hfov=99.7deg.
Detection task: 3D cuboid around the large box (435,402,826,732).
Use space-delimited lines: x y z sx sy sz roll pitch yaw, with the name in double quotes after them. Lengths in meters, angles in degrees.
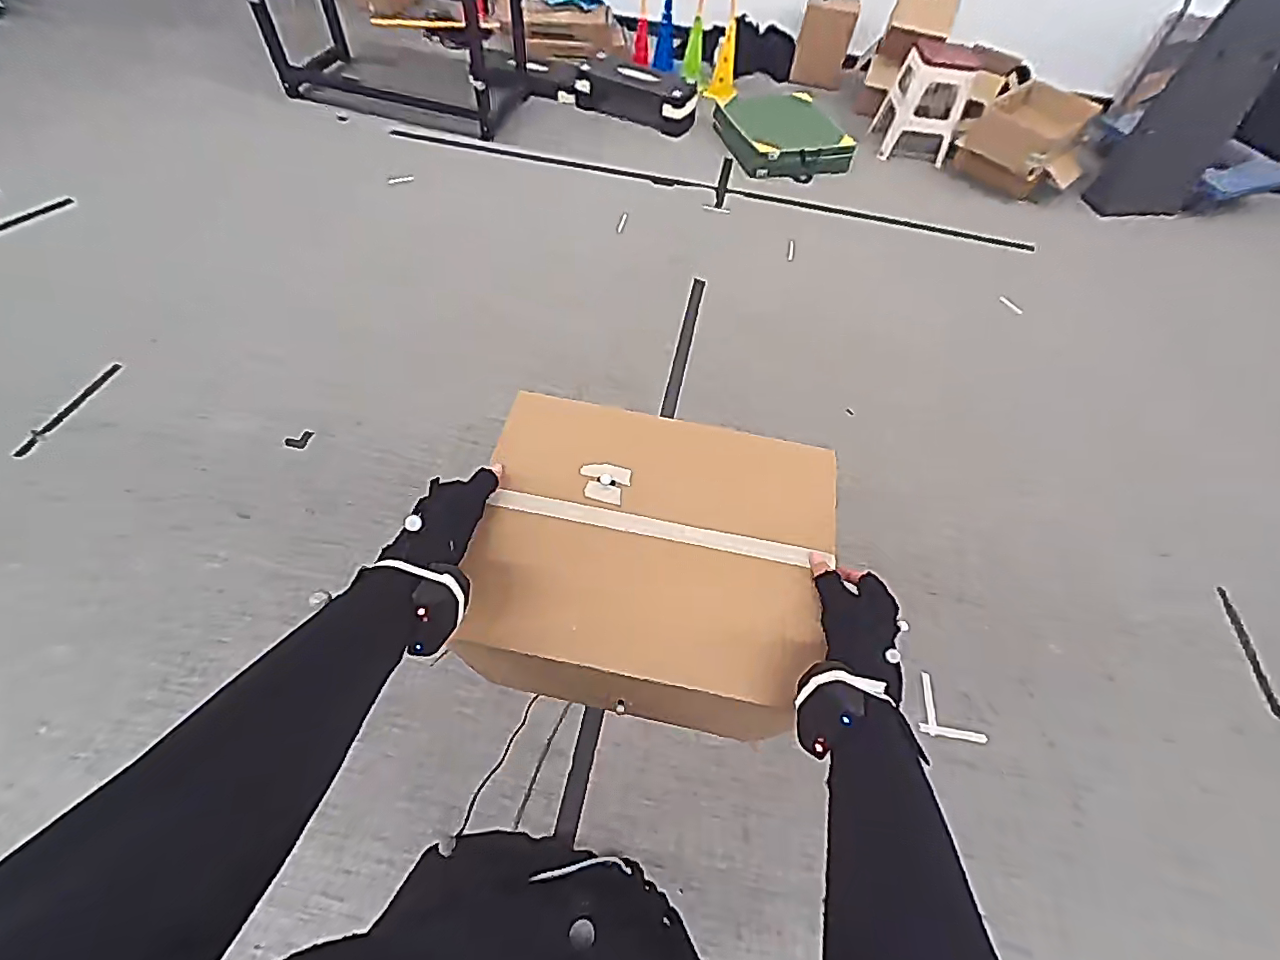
0.007 0.136 0.742 0.408 0.320 0.320 11 59 4 "large box"
